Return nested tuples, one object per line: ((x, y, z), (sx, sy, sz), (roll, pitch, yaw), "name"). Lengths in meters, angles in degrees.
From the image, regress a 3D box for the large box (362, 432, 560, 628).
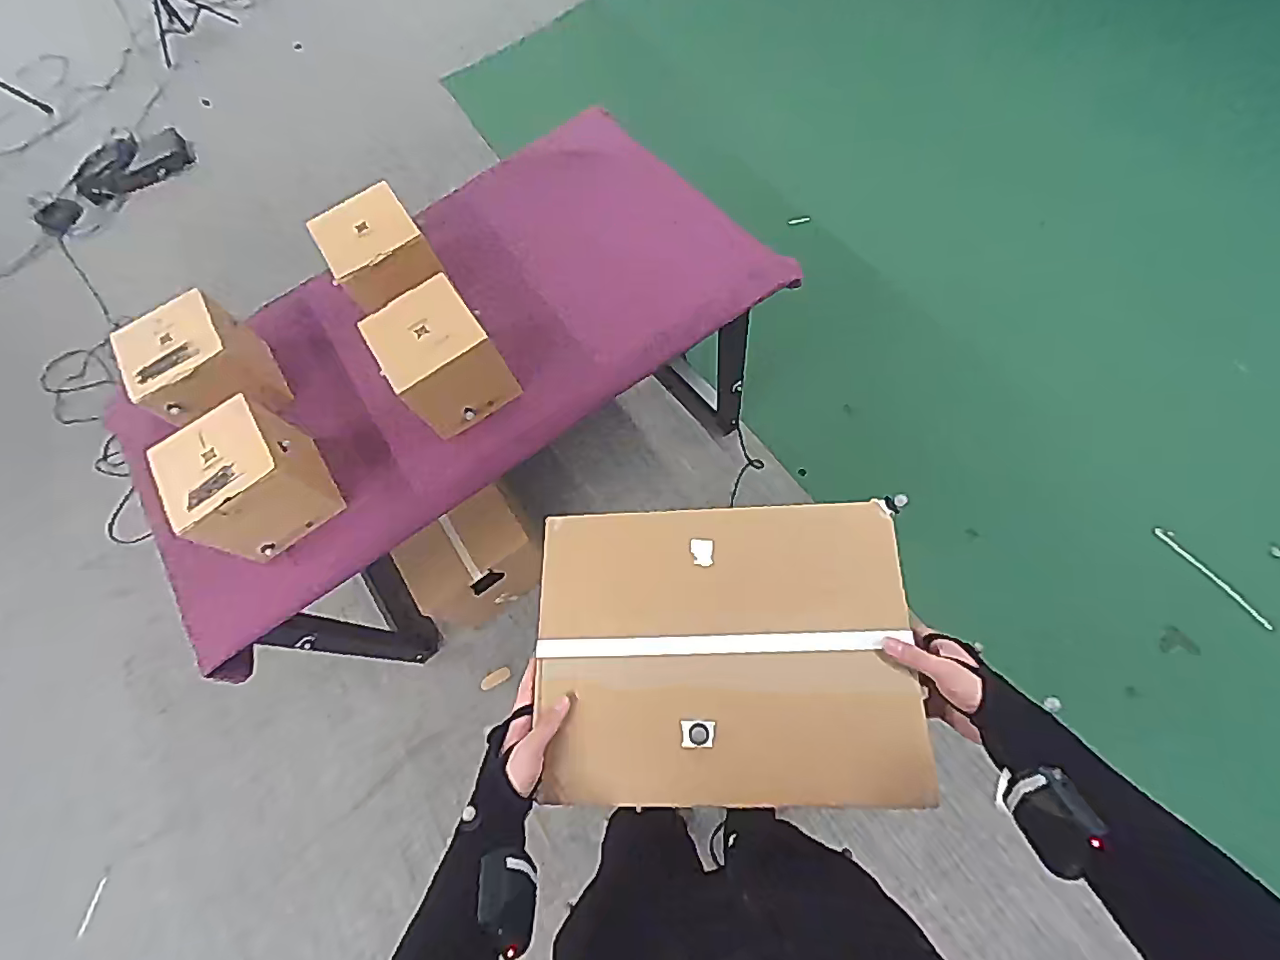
((-0.487, 0.148, 1.519), (0.320, 0.320, 0.408), (-35, 67, -8), "large box")

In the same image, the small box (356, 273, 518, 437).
((-0.338, -0.206, 0.923), (0.168, 0.176, 0.179), (-34, 67, -6), "small box")

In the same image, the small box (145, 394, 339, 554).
((-0.631, 0.002, 0.876), (0.168, 0.176, 0.179), (-36, 66, -8), "small box")

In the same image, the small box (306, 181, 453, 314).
((-0.483, -0.414, 1.028), (0.168, 0.176, 0.179), (-33, 69, -7), "small box")
